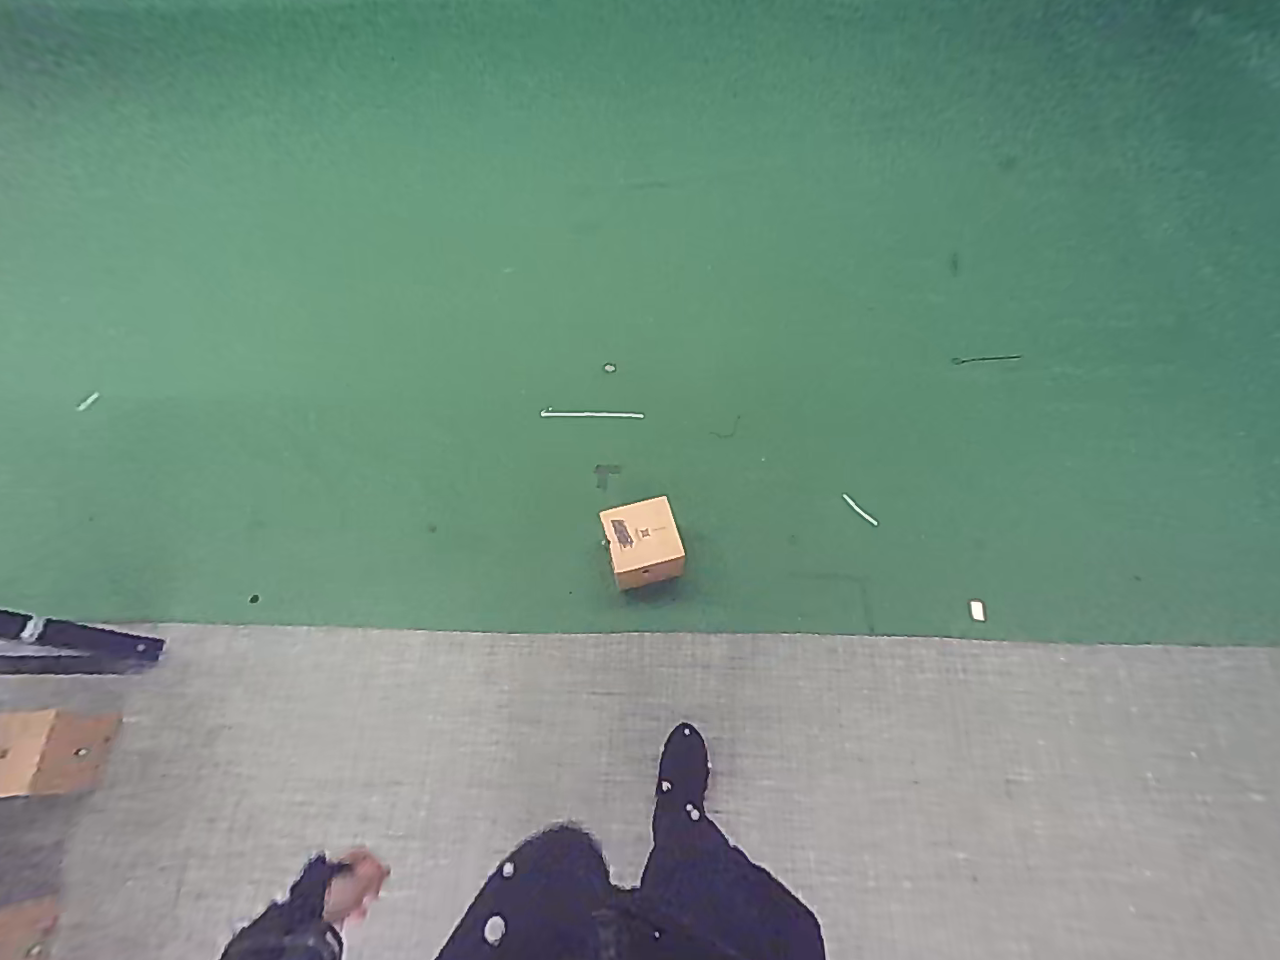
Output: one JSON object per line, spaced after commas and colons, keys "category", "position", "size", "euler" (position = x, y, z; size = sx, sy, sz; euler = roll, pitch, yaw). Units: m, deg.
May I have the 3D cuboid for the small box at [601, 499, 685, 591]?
{"category": "small box", "position": [0.009, 0.171, 1.385], "size": [0.179, 0.176, 0.168], "euler": [-14, 65, -6]}

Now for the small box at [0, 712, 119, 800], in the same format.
{"category": "small box", "position": [-1.342, 0.615, 1.210], "size": [0.179, 0.176, 0.168], "euler": [-4, 64, -1]}
